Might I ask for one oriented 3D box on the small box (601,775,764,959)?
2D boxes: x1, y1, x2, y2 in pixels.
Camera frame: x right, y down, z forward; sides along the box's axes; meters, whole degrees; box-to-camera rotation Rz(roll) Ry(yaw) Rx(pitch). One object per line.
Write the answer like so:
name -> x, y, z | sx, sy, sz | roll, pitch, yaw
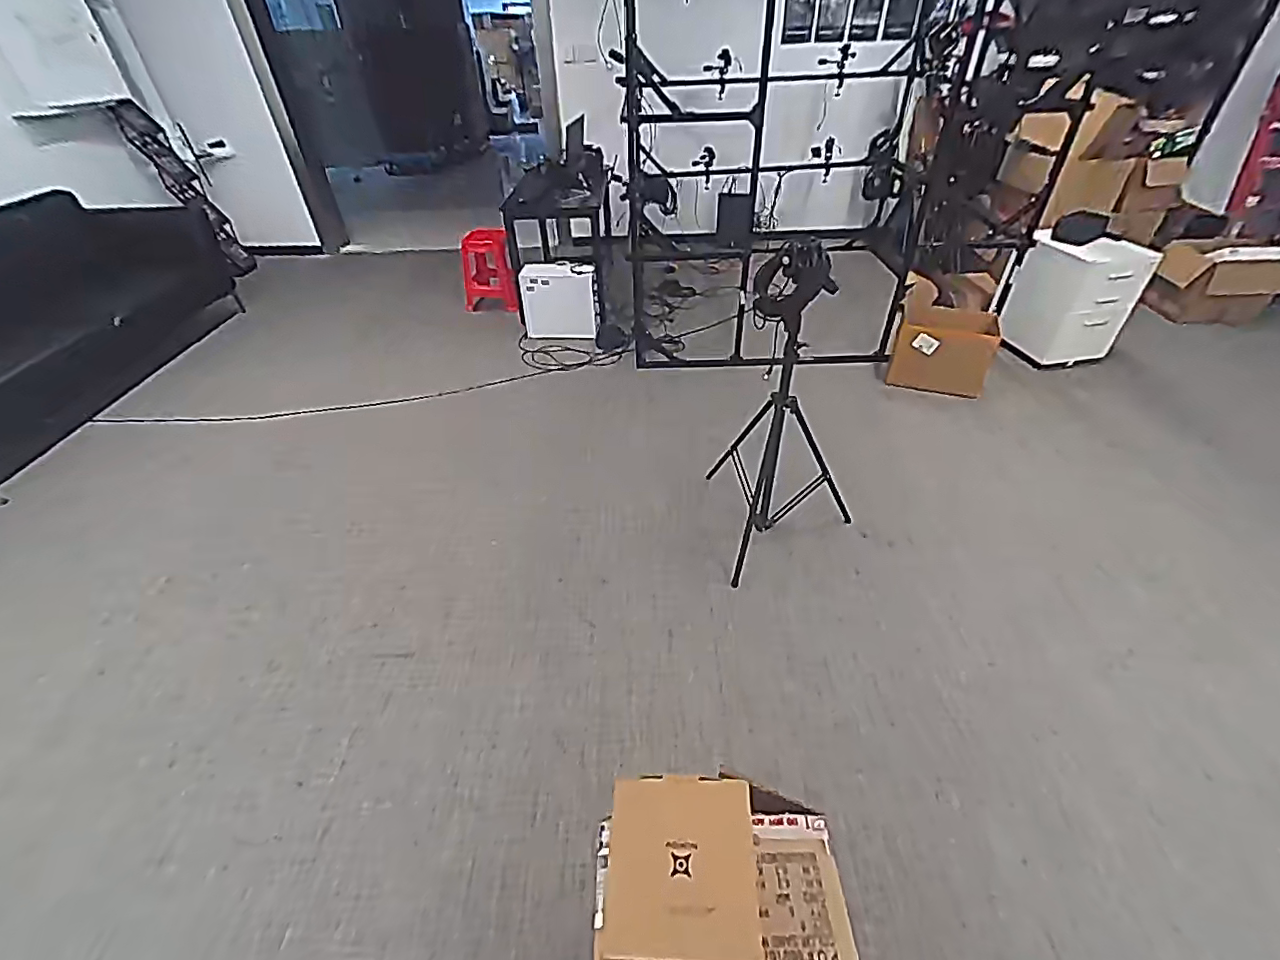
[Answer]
small box -> 0.051, 0.481, 0.650 | 0.168, 0.176, 0.179 | -1, 42, 5
